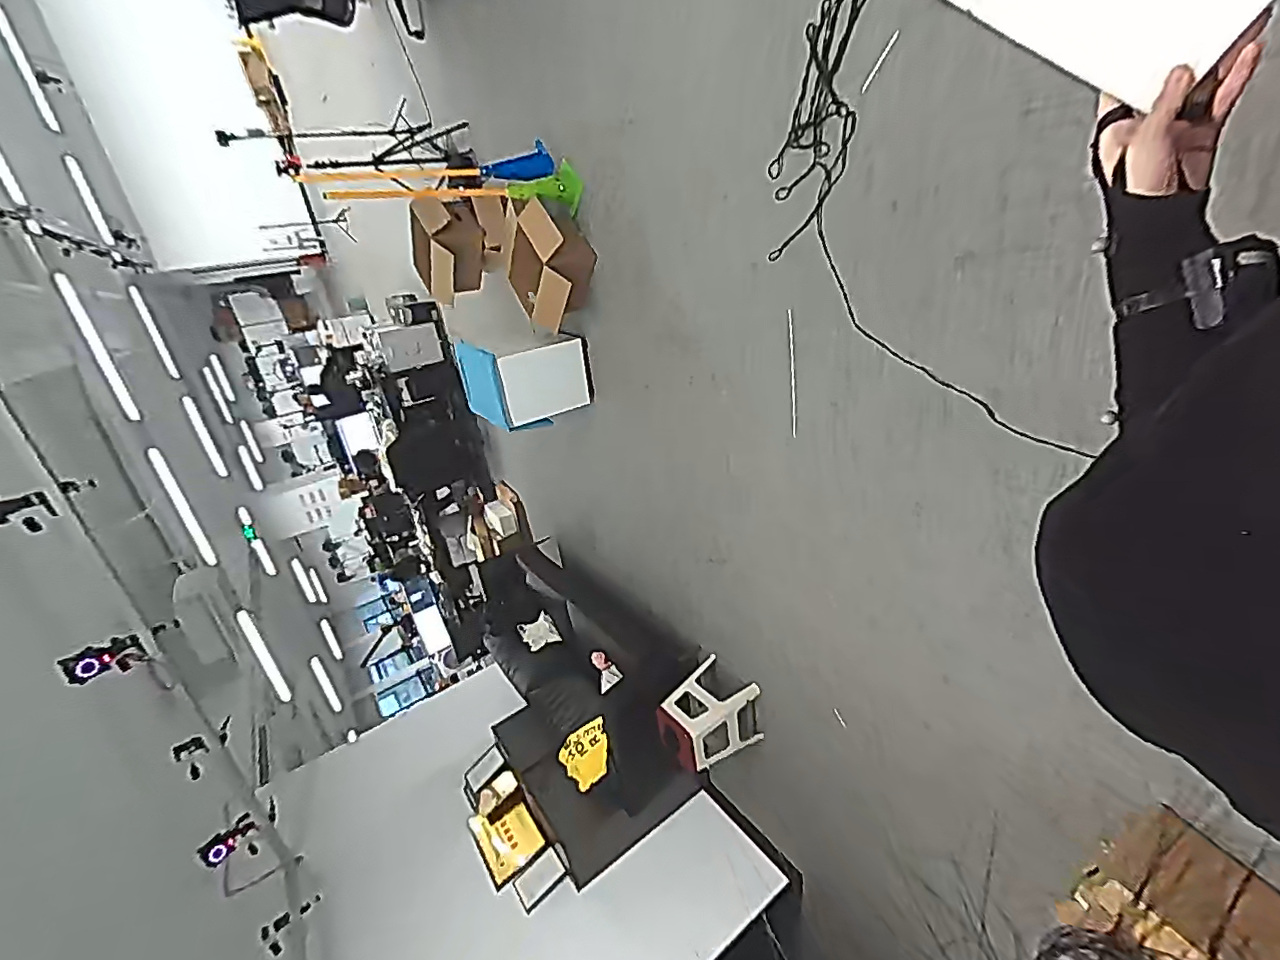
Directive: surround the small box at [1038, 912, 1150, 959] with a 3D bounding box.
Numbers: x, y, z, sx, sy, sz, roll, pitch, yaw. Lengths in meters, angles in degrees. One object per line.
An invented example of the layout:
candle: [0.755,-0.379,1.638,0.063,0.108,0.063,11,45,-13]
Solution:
small box: [1.118,1.207,1.314,0.168,0.176,0.179,43,144,37]
